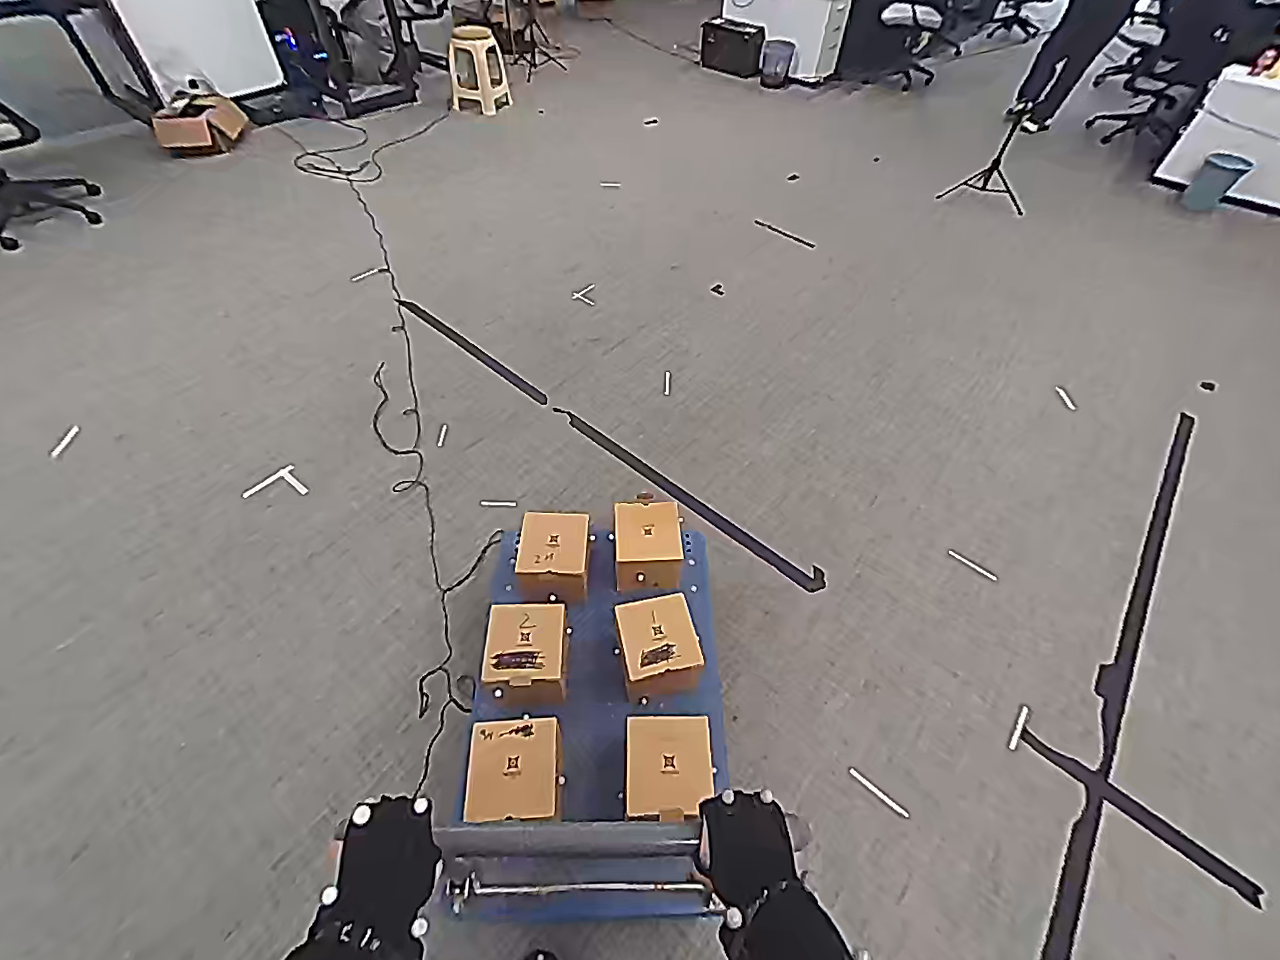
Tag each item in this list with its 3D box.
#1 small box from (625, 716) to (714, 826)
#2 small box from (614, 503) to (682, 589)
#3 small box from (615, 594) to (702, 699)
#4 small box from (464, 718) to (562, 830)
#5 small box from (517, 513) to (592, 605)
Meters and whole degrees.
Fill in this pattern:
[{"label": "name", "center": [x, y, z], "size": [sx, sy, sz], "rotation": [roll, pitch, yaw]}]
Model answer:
[{"label": "small box", "center": [0.054, 0.596, 1.101], "size": [0.168, 0.176, 0.179], "rotation": [1, 51, -2]}, {"label": "small box", "center": [0.018, 0.180, 1.429], "size": [0.168, 0.176, 0.179], "rotation": [-2, 52, -4]}, {"label": "small box", "center": [0.037, 0.393, 1.260], "size": [0.168, 0.176, 0.179], "rotation": [-9, 52, -10]}, {"label": "small box", "center": [-0.244, 0.594, 1.086], "size": [0.168, 0.176, 0.179], "rotation": [-1, 52, -5]}, {"label": "small box", "center": [-0.214, 0.205, 1.396], "size": [0.168, 0.176, 0.179], "rotation": [2, 52, -1]}]
